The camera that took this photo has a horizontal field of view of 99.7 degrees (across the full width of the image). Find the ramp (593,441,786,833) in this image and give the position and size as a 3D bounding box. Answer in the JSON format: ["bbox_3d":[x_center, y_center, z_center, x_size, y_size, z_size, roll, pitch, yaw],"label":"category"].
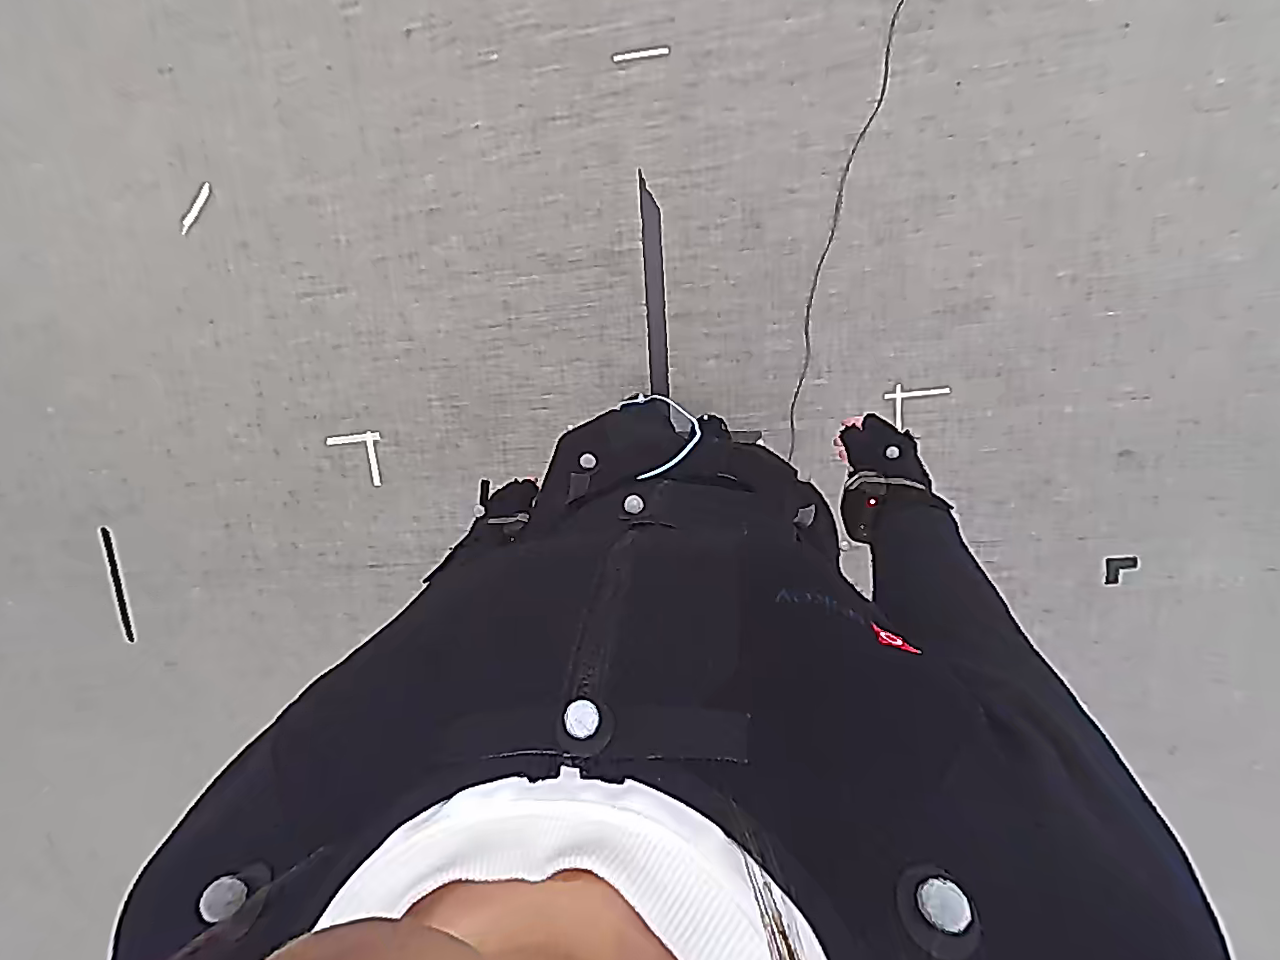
[{"bbox_3d":[0.117,0.401,1.436,0.509,0.206,0.991,-3,96,10],"label":"ramp"}]
